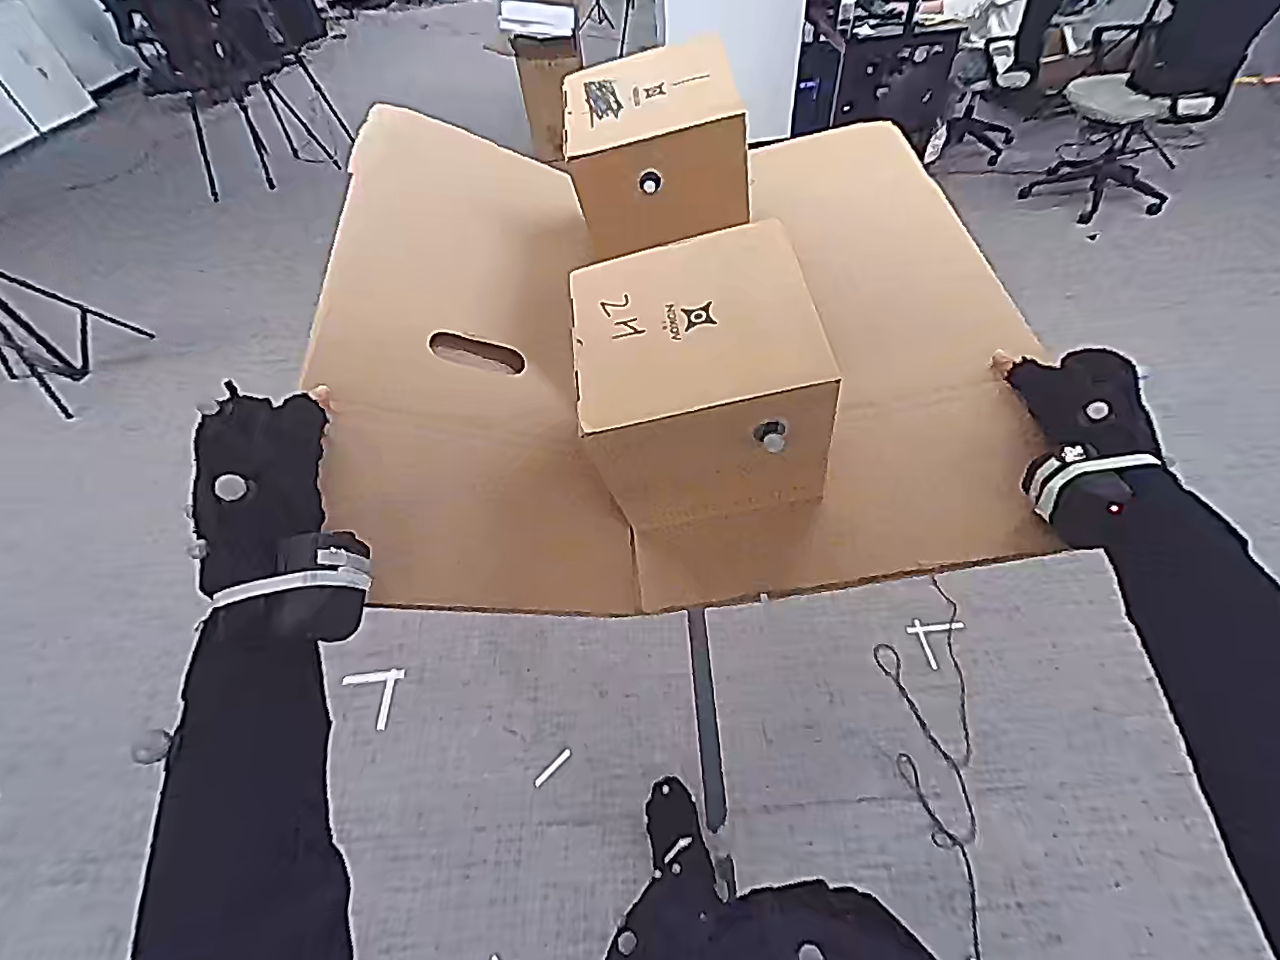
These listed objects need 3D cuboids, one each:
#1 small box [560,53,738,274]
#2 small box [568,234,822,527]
[{"bbox_3d":[0.016,-0.346,0.634,0.179,0.176,0.168,-10,60,8],"label":"small box"},{"bbox_3d":[0.047,-0.074,0.476,0.179,0.176,0.168,-12,59,9],"label":"small box"}]
